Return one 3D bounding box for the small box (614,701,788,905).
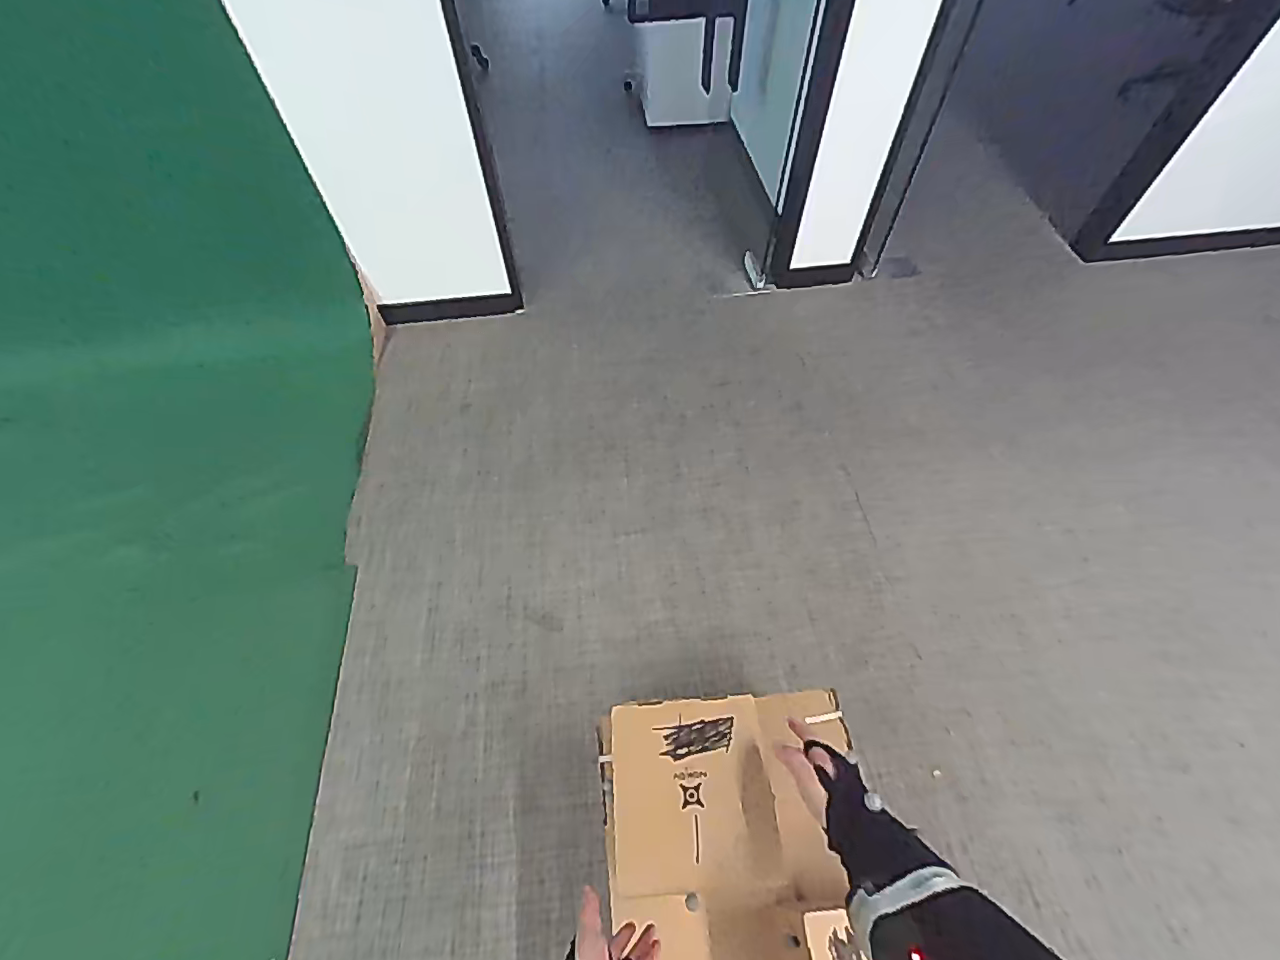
[{"bbox_3d":[0.057,0.375,0.624,0.168,0.176,0.179,-5,52,-1],"label":"small box"}]
